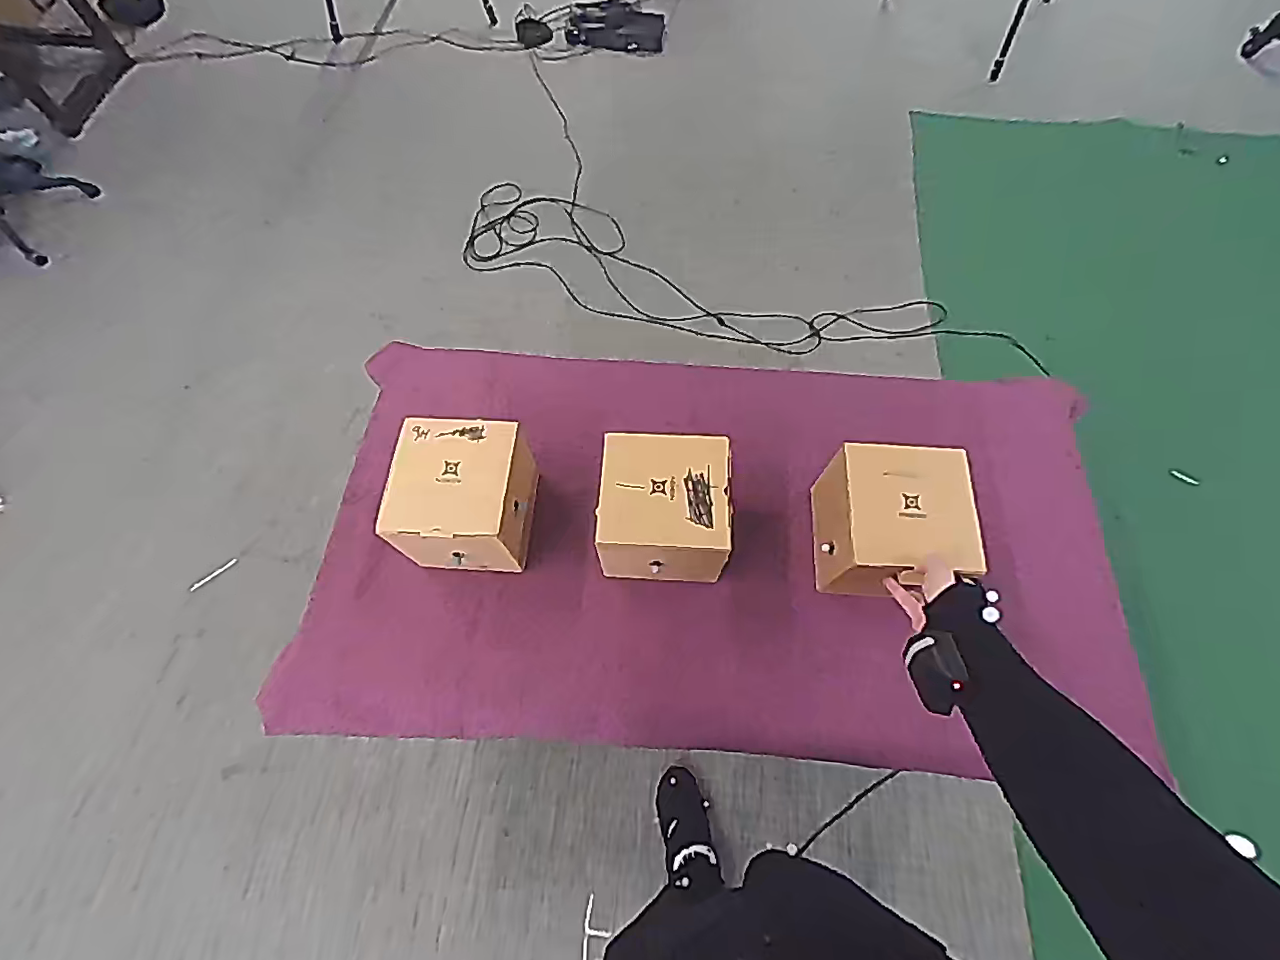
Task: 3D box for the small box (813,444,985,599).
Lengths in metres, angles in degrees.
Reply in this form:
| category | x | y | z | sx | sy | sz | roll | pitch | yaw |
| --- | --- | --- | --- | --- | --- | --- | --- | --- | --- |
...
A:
| category | x | y | z | sx | sy | sz | roll | pitch | yaw |
| --- | --- | --- | --- | --- | --- | --- | --- | --- | --- |
| small box | 0.353 | 0.066 | 0.773 | 0.168 | 0.176 | 0.179 | 4 | 66 | 2 |

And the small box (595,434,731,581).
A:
| category | x | y | z | sx | sy | sz | roll | pitch | yaw |
| --- | --- | --- | --- | --- | --- | --- | --- | --- | --- |
| small box | 0.034 | 0.047 | 0.790 | 0.179 | 0.176 | 0.168 | 2 | 65 | 3 |

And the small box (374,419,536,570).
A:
| category | x | y | z | sx | sy | sz | roll | pitch | yaw |
| --- | --- | --- | --- | --- | --- | --- | --- | --- | --- |
| small box | -0.258 | 0.028 | 0.802 | 0.168 | 0.176 | 0.179 | 3 | 66 | 2 |
